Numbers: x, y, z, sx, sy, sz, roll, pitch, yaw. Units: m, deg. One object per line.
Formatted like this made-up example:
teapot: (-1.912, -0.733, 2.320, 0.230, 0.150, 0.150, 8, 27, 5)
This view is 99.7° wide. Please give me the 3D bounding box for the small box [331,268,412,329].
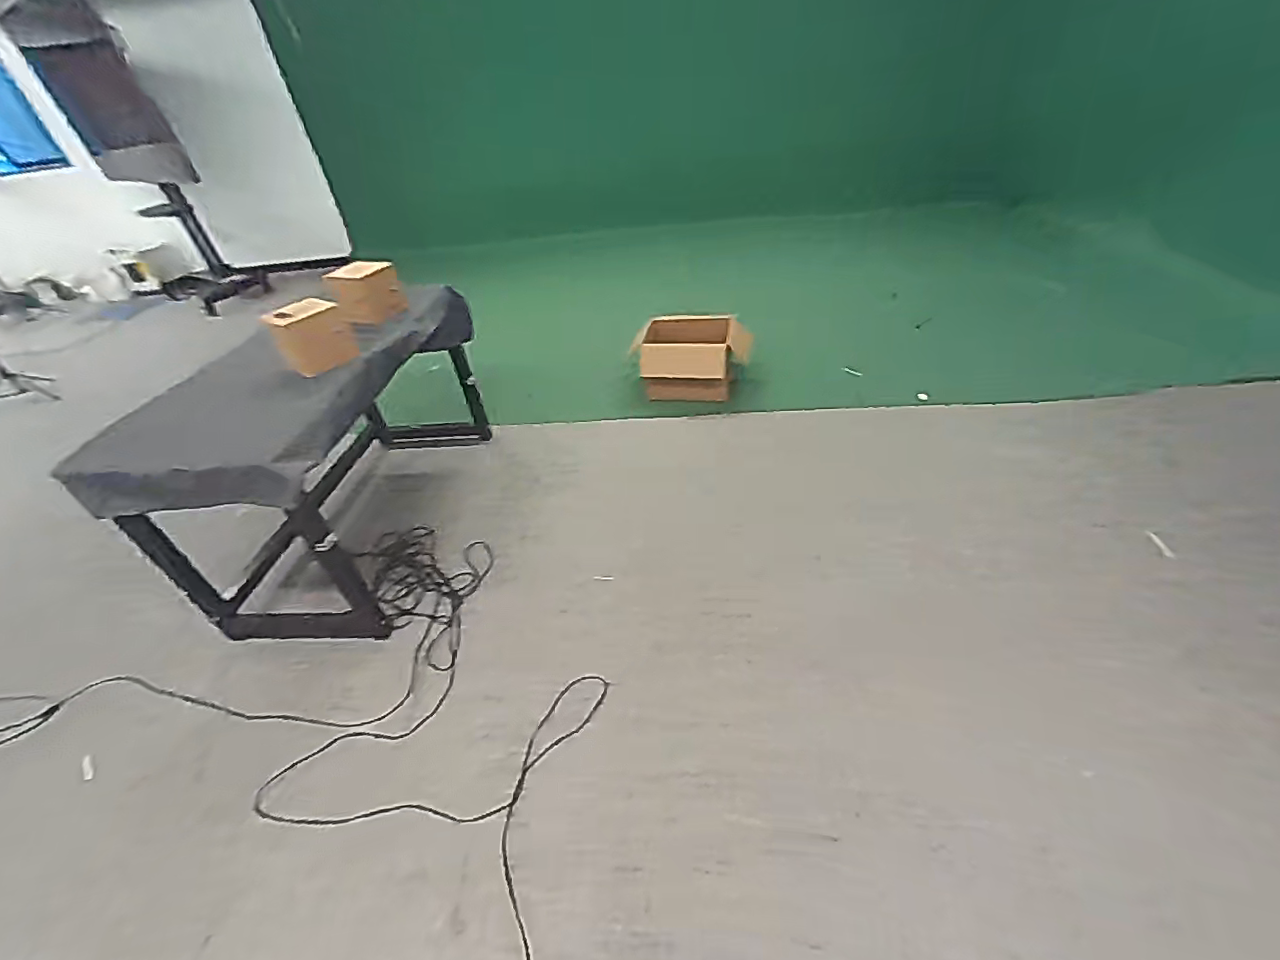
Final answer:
small box: (-0.972, -0.661, 1.975, 0.179, 0.176, 0.168, 9, 40, 23)
